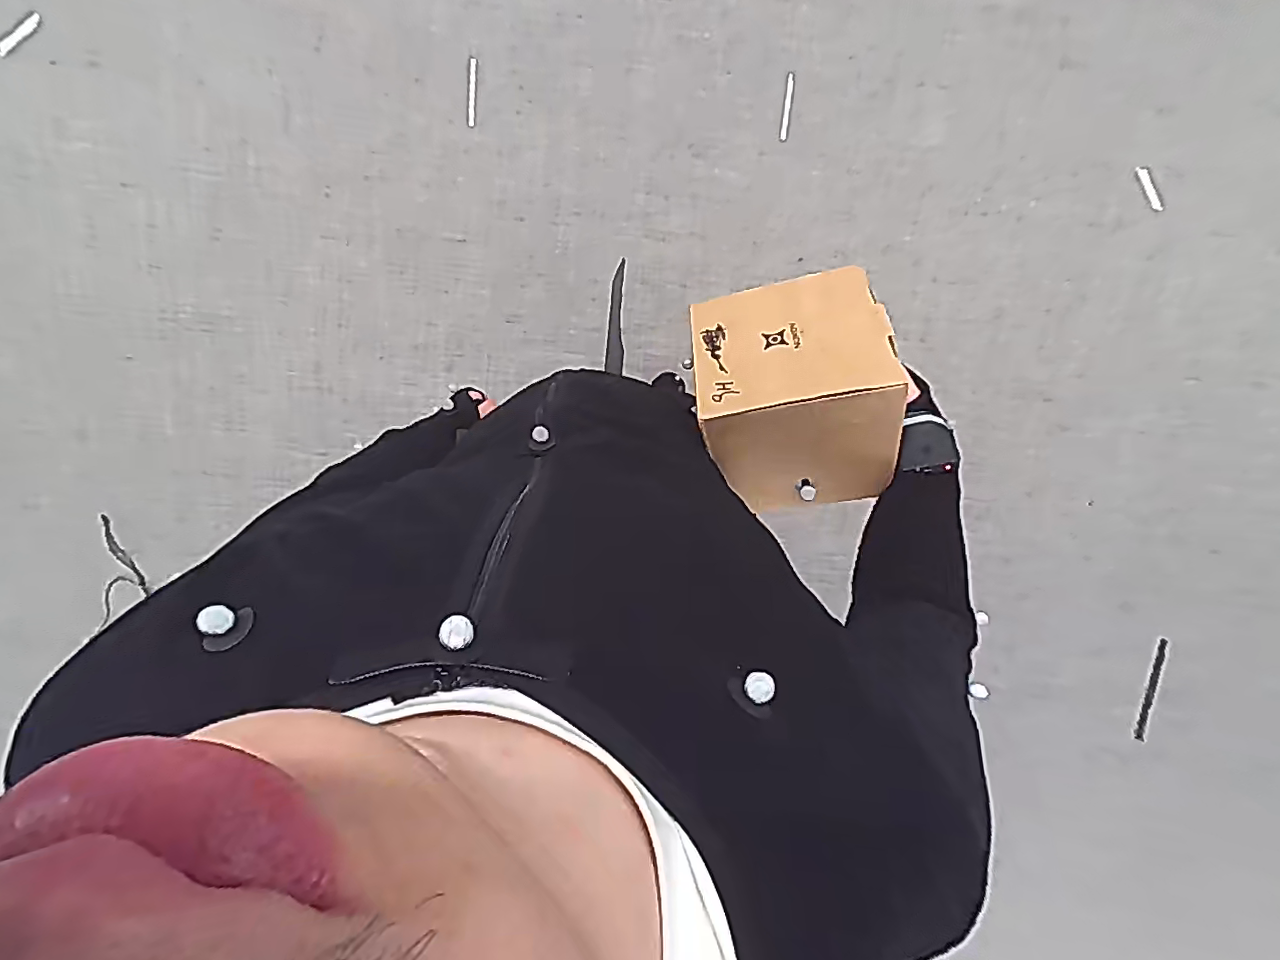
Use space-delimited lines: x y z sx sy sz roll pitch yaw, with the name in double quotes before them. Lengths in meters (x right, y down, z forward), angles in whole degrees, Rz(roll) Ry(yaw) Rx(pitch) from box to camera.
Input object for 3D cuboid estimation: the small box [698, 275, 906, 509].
"small box" 0.165 -0.086 0.586 0.179 0.168 0.176 -9 142 12
